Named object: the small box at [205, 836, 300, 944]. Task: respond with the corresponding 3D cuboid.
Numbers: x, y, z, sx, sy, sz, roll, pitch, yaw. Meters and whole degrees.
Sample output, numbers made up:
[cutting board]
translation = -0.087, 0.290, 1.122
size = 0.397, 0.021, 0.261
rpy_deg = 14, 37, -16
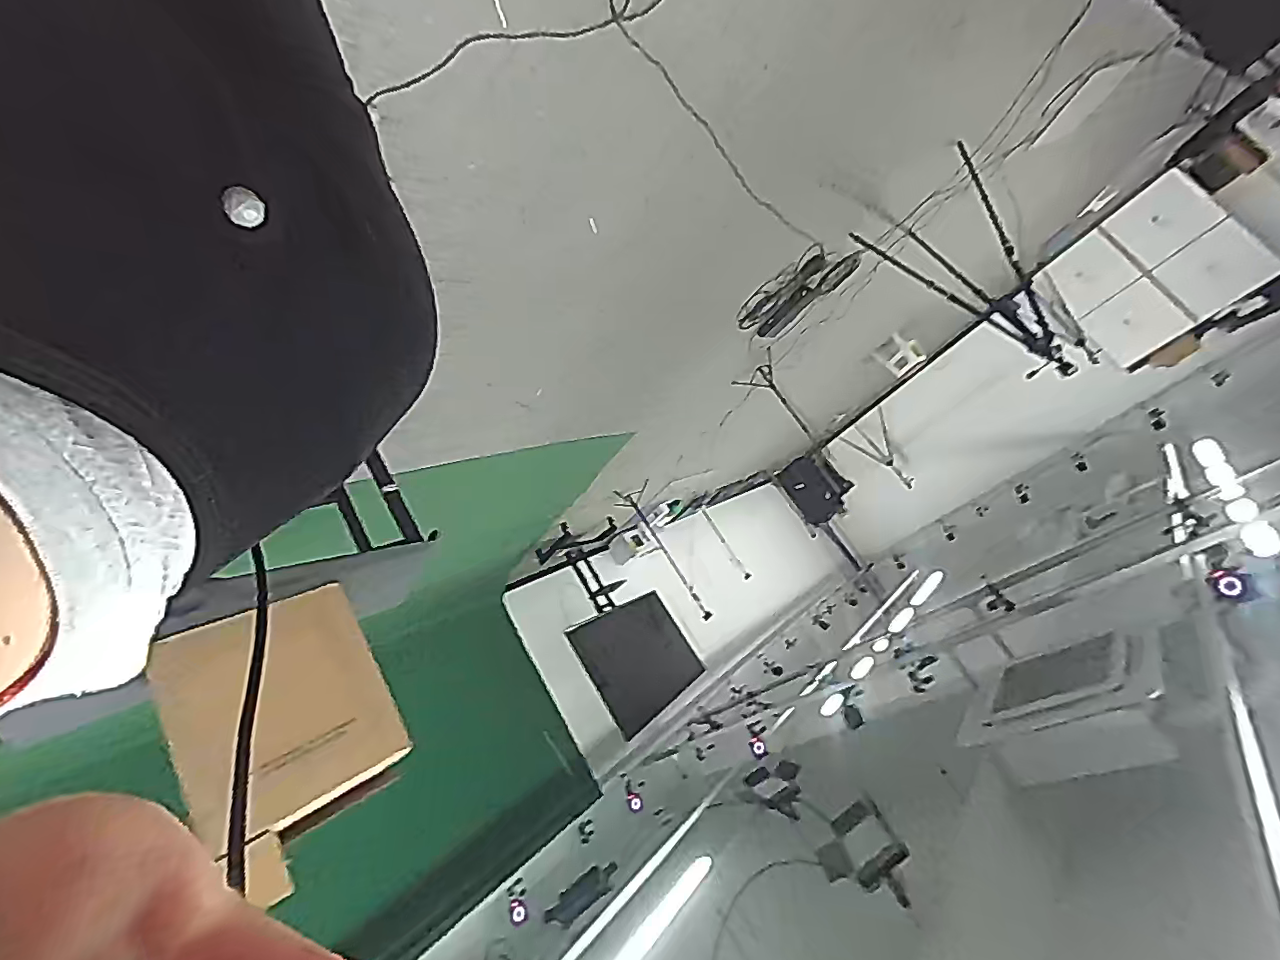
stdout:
[small box]
translation = -1.038, 1.090, 1.453
size = 0.168, 0.176, 0.179
rpy_deg = -20, 161, -37
